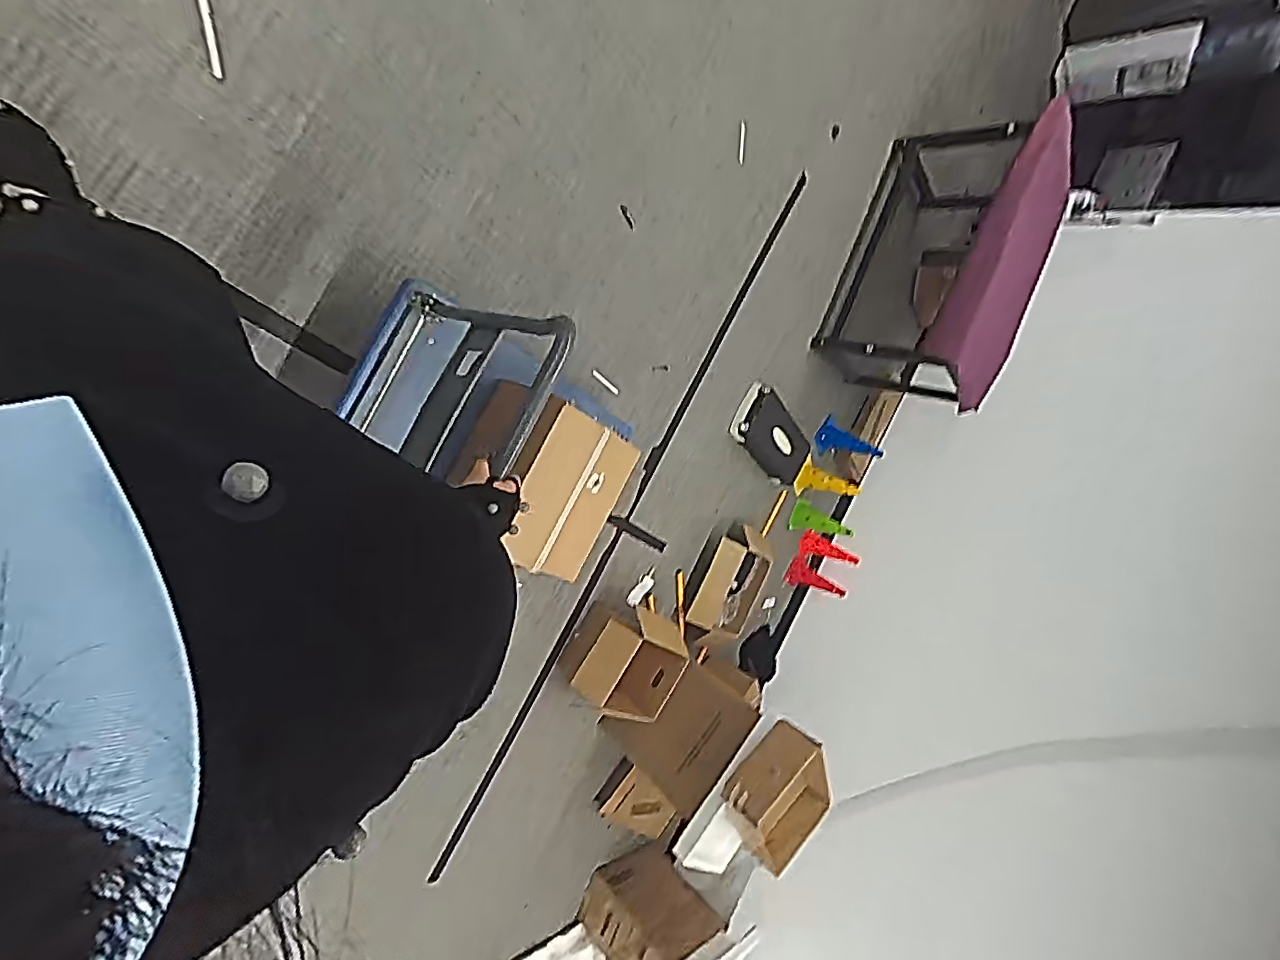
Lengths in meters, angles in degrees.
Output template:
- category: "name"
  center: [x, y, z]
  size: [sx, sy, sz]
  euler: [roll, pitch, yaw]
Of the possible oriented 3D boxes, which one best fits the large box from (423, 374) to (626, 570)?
- category: "large box"
  center: [-0.312, -0.023, 1.470]
  size: [0.320, 0.320, 0.408]
  euler: [32, 83, -49]
